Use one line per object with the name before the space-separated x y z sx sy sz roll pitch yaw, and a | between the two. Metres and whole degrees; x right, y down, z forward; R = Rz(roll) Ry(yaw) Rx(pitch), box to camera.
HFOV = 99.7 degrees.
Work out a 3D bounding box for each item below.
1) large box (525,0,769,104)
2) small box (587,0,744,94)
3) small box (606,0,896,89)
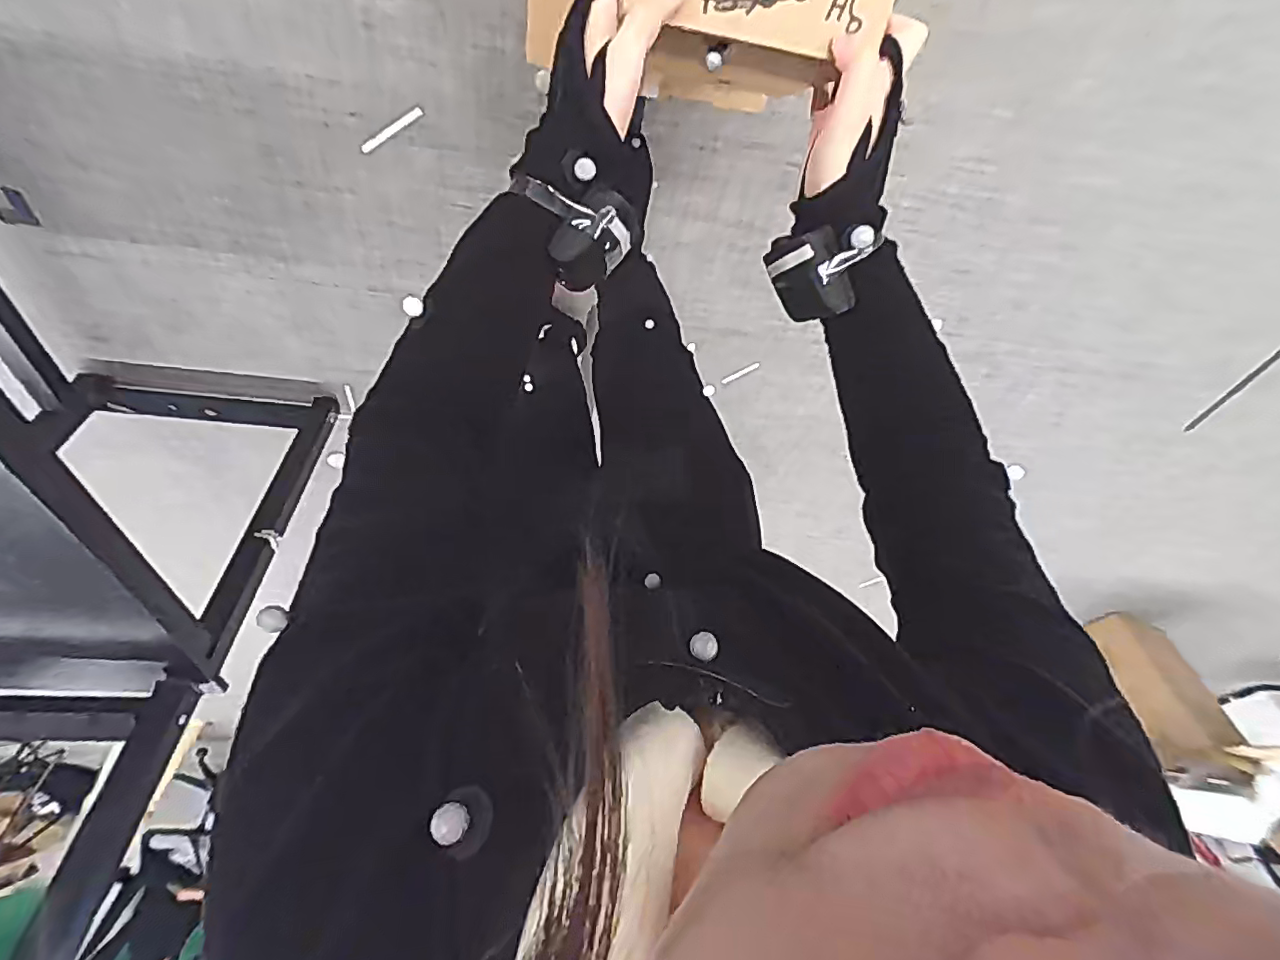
large box | 0.038 -0.743 0.642 0.320 0.320 0.408 4 137 -11
small box | 0.044 -0.519 0.524 0.168 0.176 0.179 9 137 -12
small box | 0.072 -0.382 0.353 0.168 0.176 0.179 4 121 -11
